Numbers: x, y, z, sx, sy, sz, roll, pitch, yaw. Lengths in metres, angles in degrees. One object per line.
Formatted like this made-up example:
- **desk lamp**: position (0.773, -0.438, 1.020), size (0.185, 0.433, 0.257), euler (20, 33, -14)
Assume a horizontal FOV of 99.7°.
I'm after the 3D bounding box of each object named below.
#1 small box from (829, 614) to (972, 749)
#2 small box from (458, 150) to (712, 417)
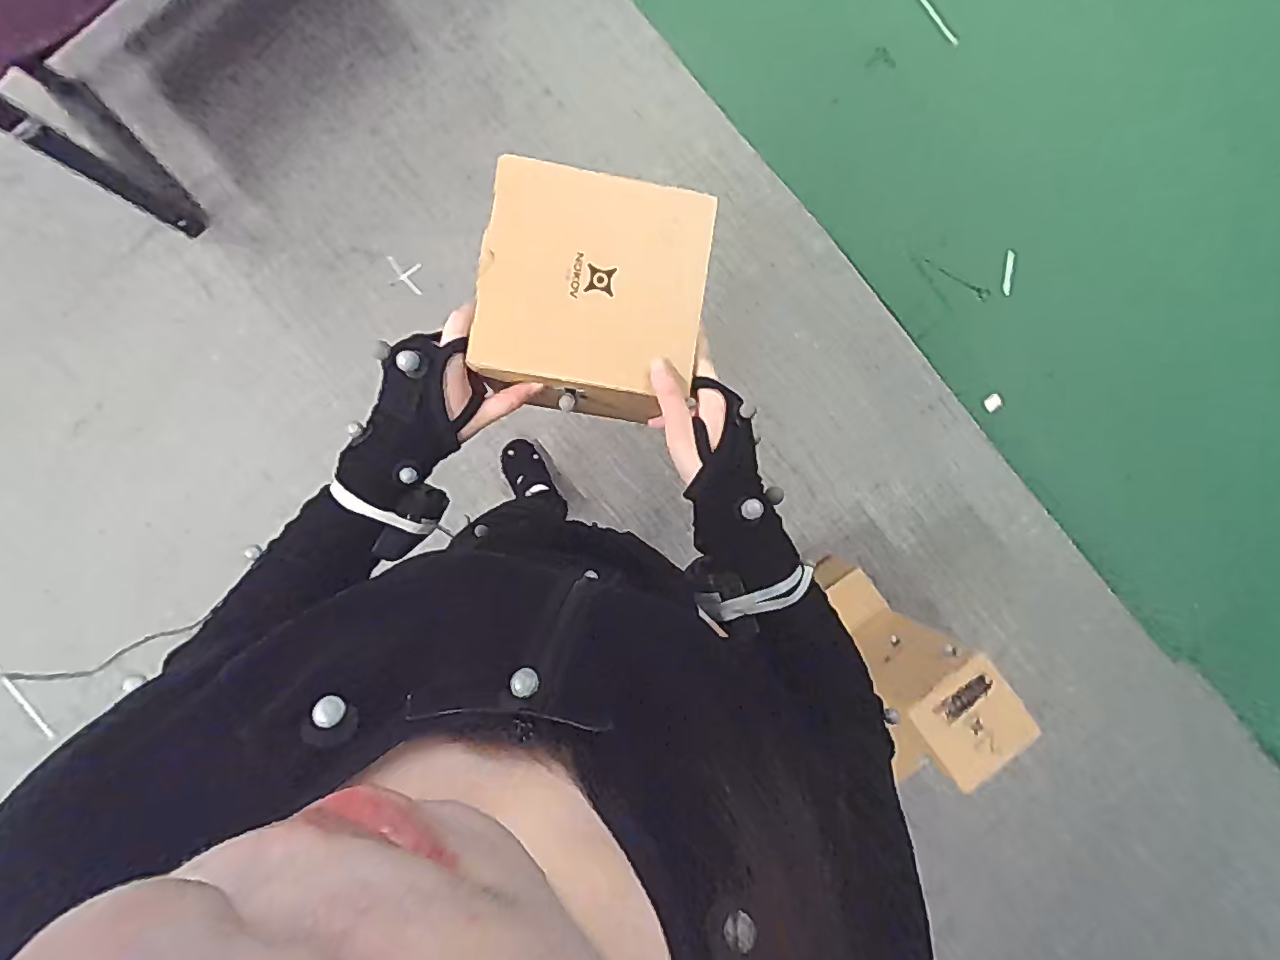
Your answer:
- **small box**: position (0.532, 0.408, 1.128), size (0.168, 0.176, 0.179), euler (-32, 92, -3)
- **small box**: position (-0.046, -0.156, 0.494), size (0.179, 0.176, 0.168), euler (8, 88, -4)
